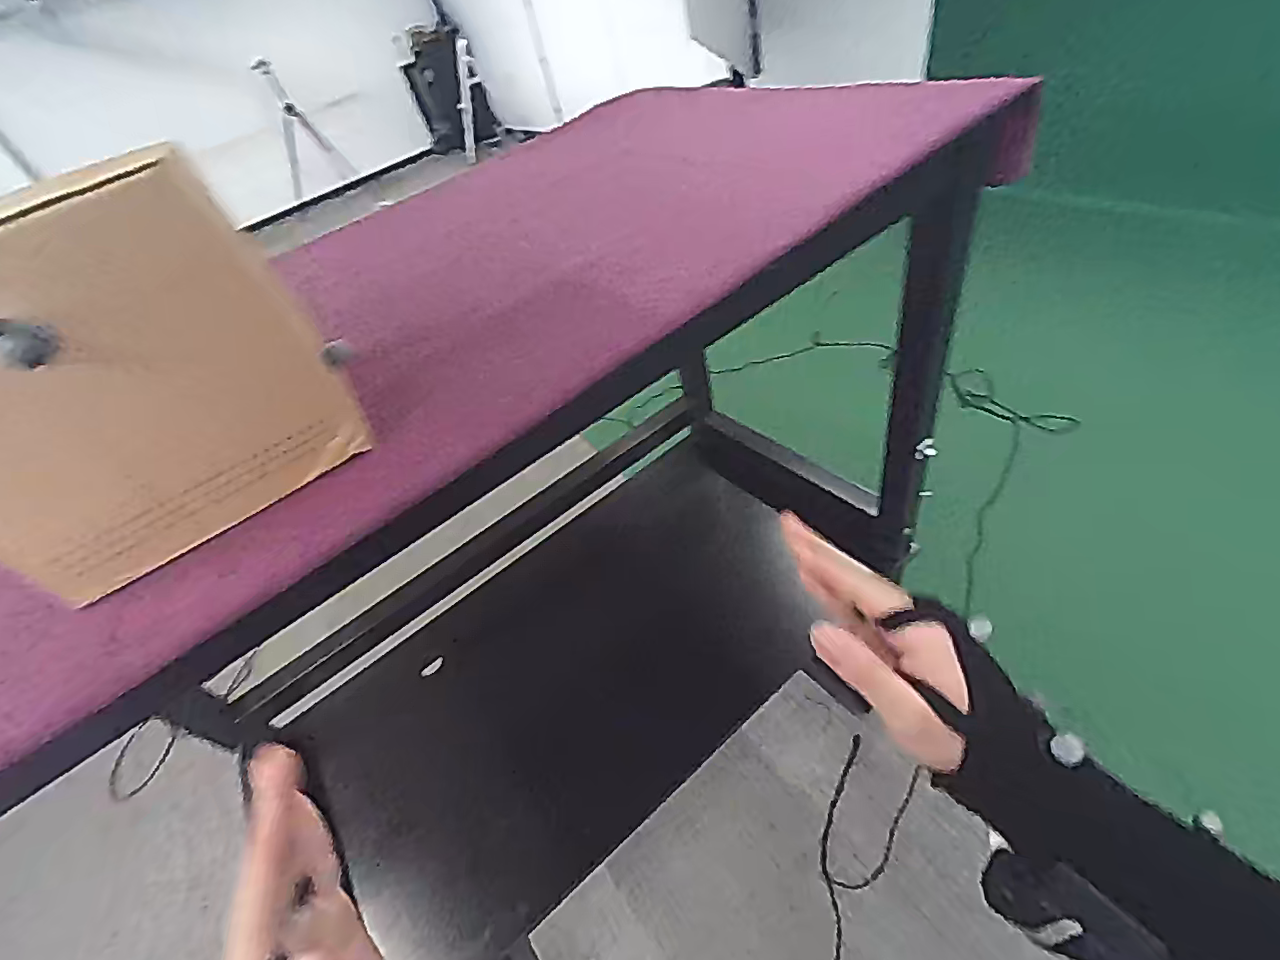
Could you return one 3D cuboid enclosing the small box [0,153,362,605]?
[{"bbox_3d":[-0.301,-0.063,0.314,0.179,0.176,0.168,-34,45,-16],"label":"small box"}]
